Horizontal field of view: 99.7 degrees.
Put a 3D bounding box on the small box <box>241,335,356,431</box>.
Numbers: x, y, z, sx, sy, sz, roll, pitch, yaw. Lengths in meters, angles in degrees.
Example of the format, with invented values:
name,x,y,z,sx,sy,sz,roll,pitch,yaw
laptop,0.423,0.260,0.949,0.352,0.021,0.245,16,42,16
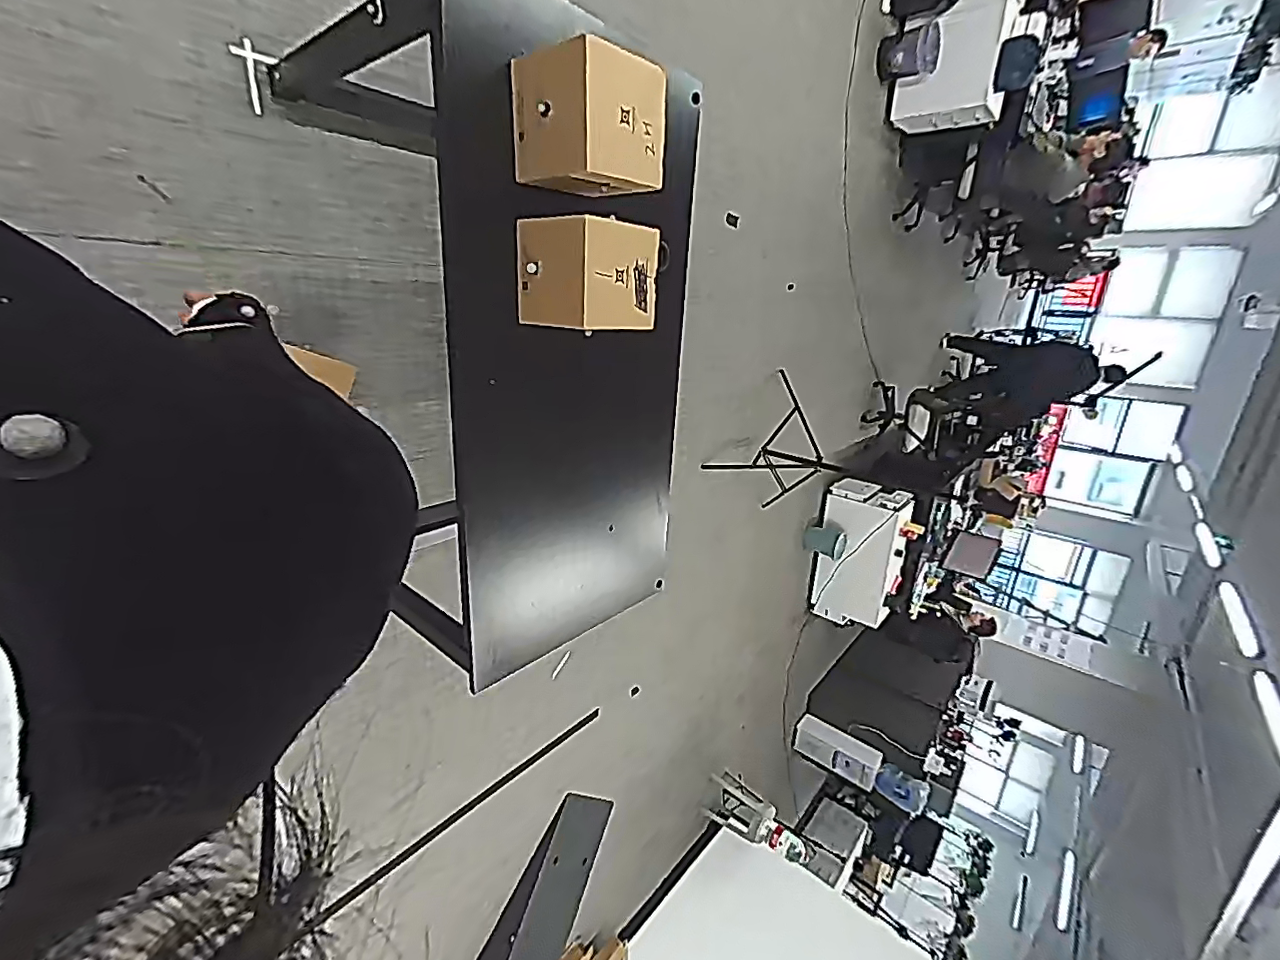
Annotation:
name,x,y,z,sx,sy,sz,roll,pitch,yaw
small box,-0.812,-0.230,1.280,0.168,0.176,0.179,14,92,-53

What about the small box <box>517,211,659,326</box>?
name,x,y,z,sx,sy,sz,roll,pitch,yaw
small box,-0.090,-0.356,0.926,0.179,0.176,0.168,-17,117,-46
